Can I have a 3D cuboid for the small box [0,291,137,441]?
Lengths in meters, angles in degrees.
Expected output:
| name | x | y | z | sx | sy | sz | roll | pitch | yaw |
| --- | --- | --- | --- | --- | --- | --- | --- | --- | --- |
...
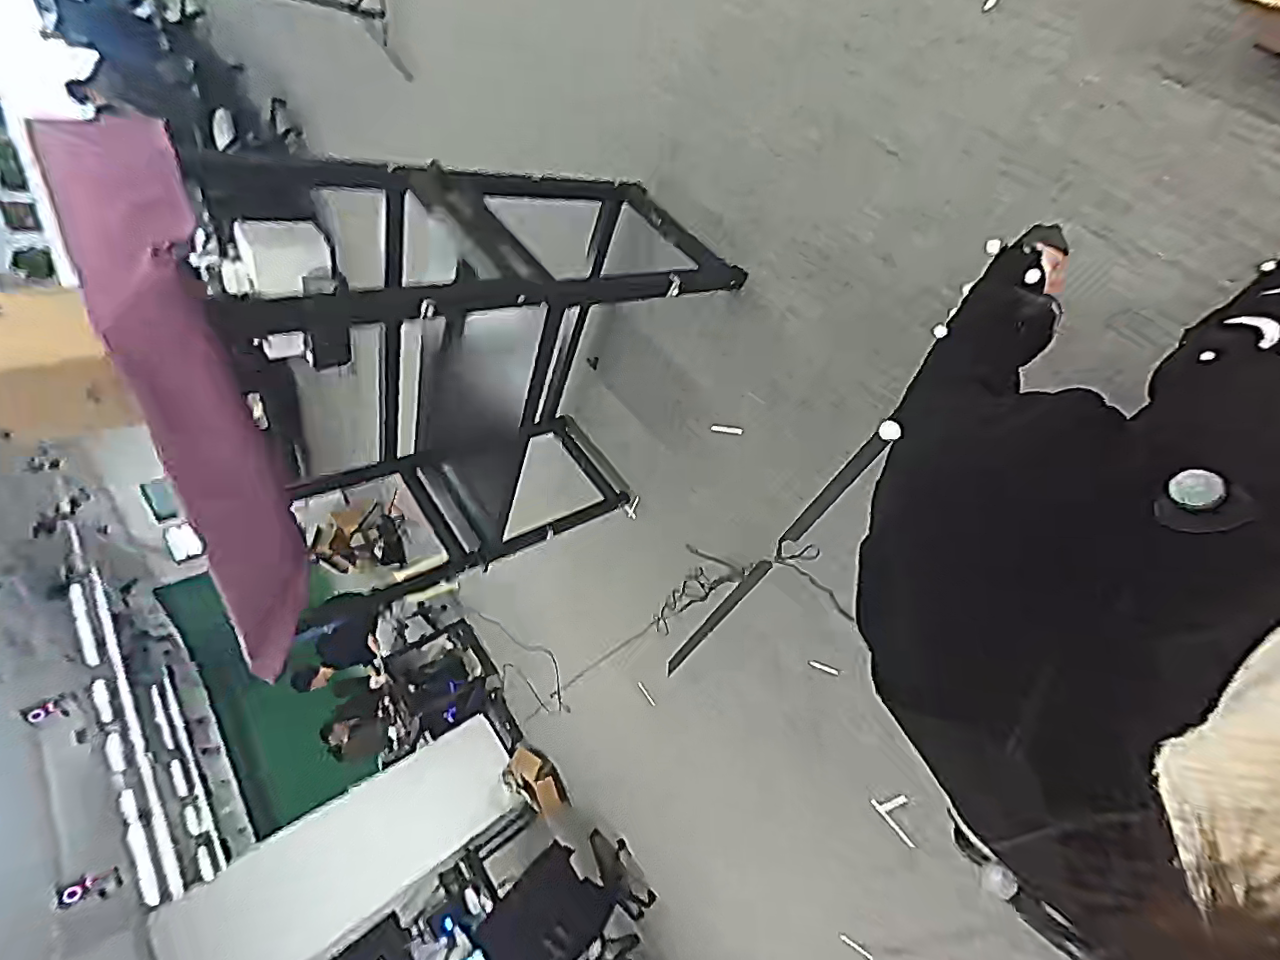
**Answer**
| name | x | y | z | sx | sy | sz | roll | pitch | yaw |
| --- | --- | --- | --- | --- | --- | --- | --- | --- | --- |
| small box | -0.982 | -0.196 | 0.900 | 0.179 | 0.176 | 0.168 | 53 | 141 | 19 |
